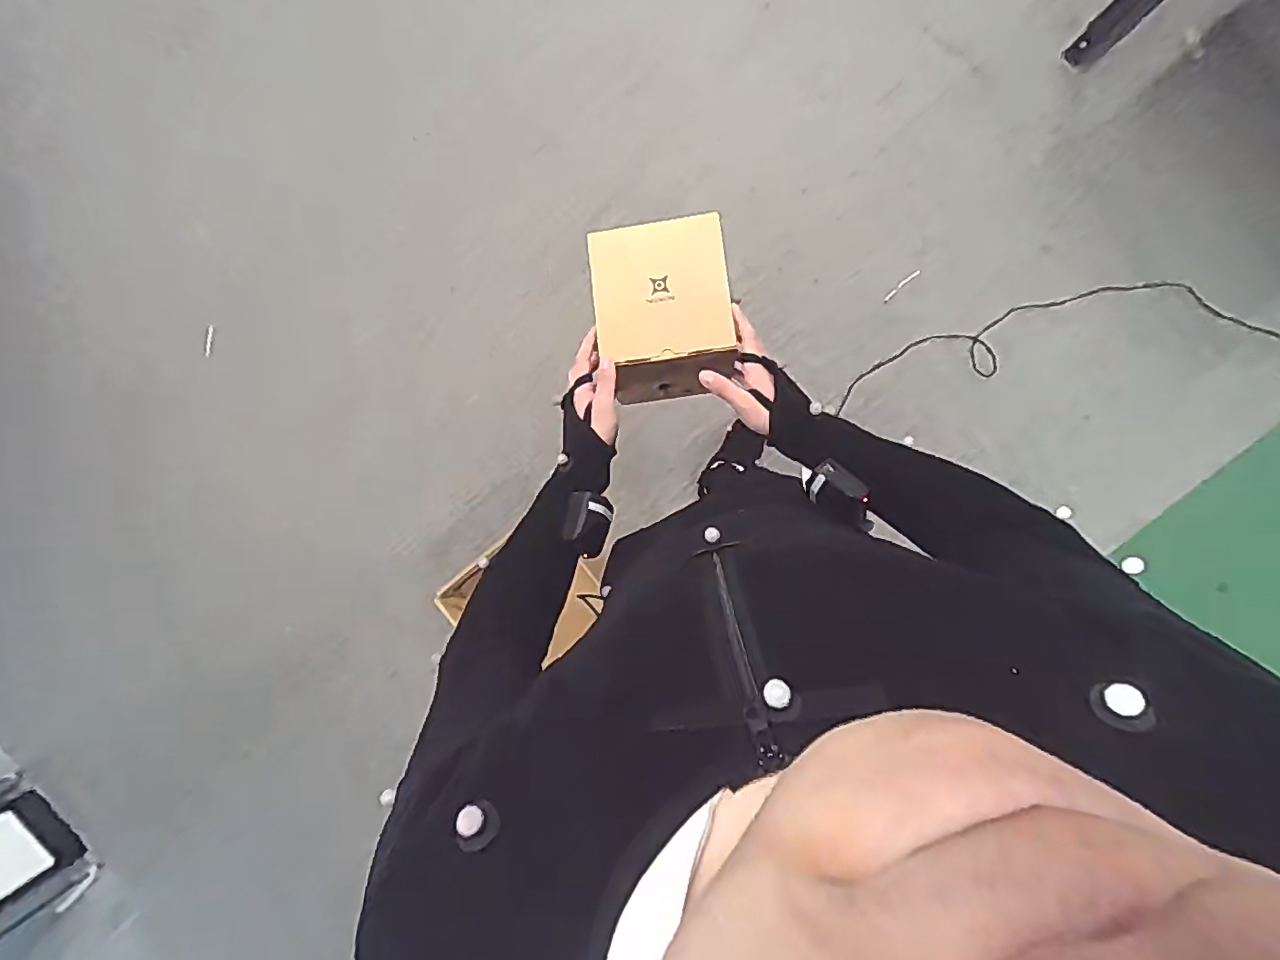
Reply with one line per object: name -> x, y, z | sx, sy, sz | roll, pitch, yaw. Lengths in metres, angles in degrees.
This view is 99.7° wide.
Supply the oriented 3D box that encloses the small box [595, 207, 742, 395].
small box -> 0.039, -0.228, 0.726 | 0.168, 0.176, 0.179 | -6, 84, 5
